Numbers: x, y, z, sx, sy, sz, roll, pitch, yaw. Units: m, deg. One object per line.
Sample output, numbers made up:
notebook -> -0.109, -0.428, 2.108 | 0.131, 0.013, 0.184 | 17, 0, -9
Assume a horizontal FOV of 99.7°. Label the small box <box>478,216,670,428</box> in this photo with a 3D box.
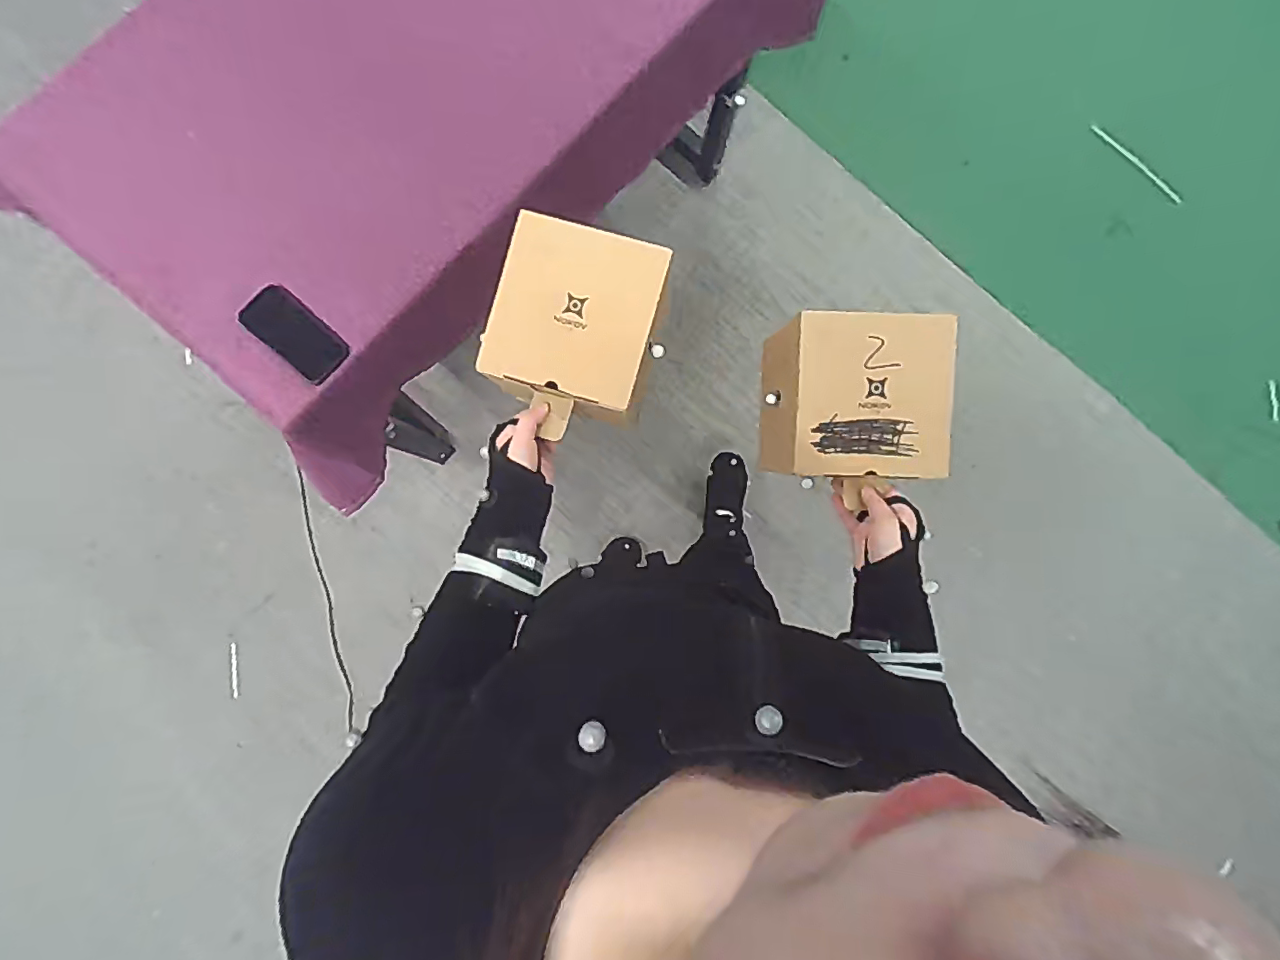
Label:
small box -> -0.068, -0.172, 0.644 | 0.168, 0.176, 0.179 | 16, 90, 2
